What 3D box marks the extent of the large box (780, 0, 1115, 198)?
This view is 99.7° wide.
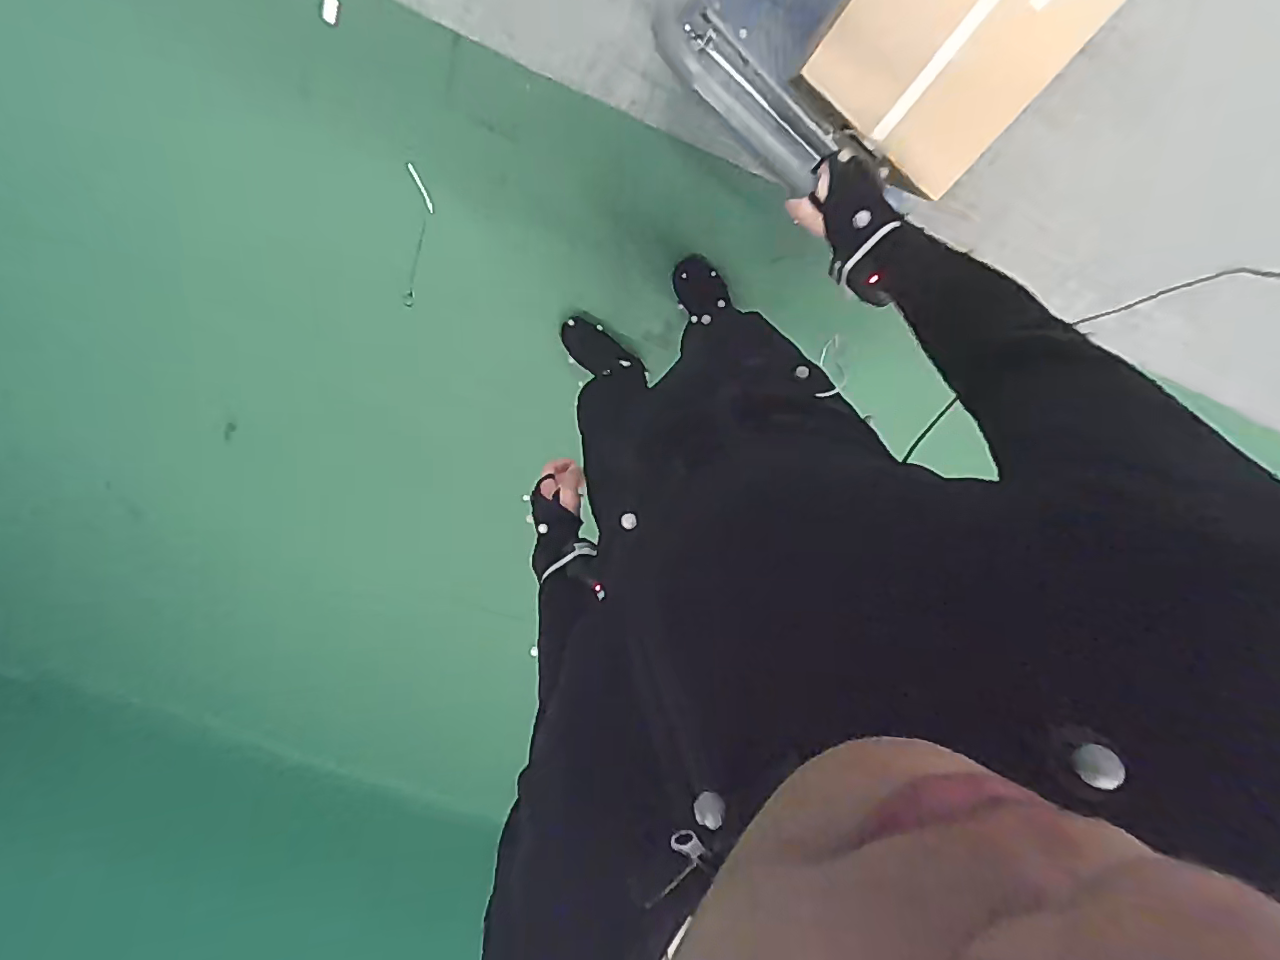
[{"bbox_3d":[0.493,-0.760,0.900,0.320,0.320,0.408,33,121,-15],"label":"large box"}]
